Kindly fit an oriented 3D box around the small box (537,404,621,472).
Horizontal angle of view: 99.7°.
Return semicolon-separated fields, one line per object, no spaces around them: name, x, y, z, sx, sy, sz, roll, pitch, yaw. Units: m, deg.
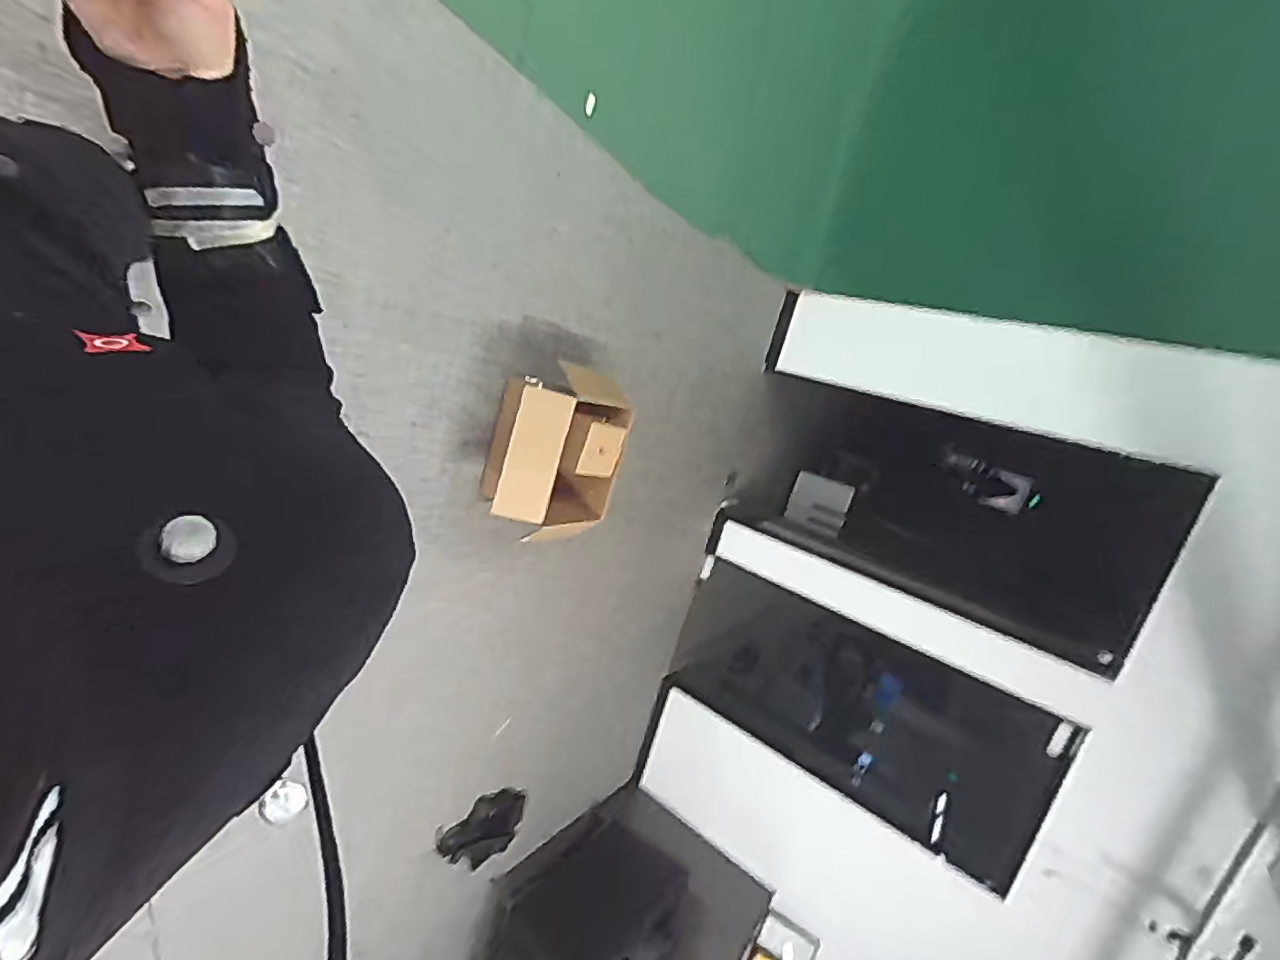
small box;-0.197;-0.135;1.744;0.179;0.176;0.168;6;106;-55
